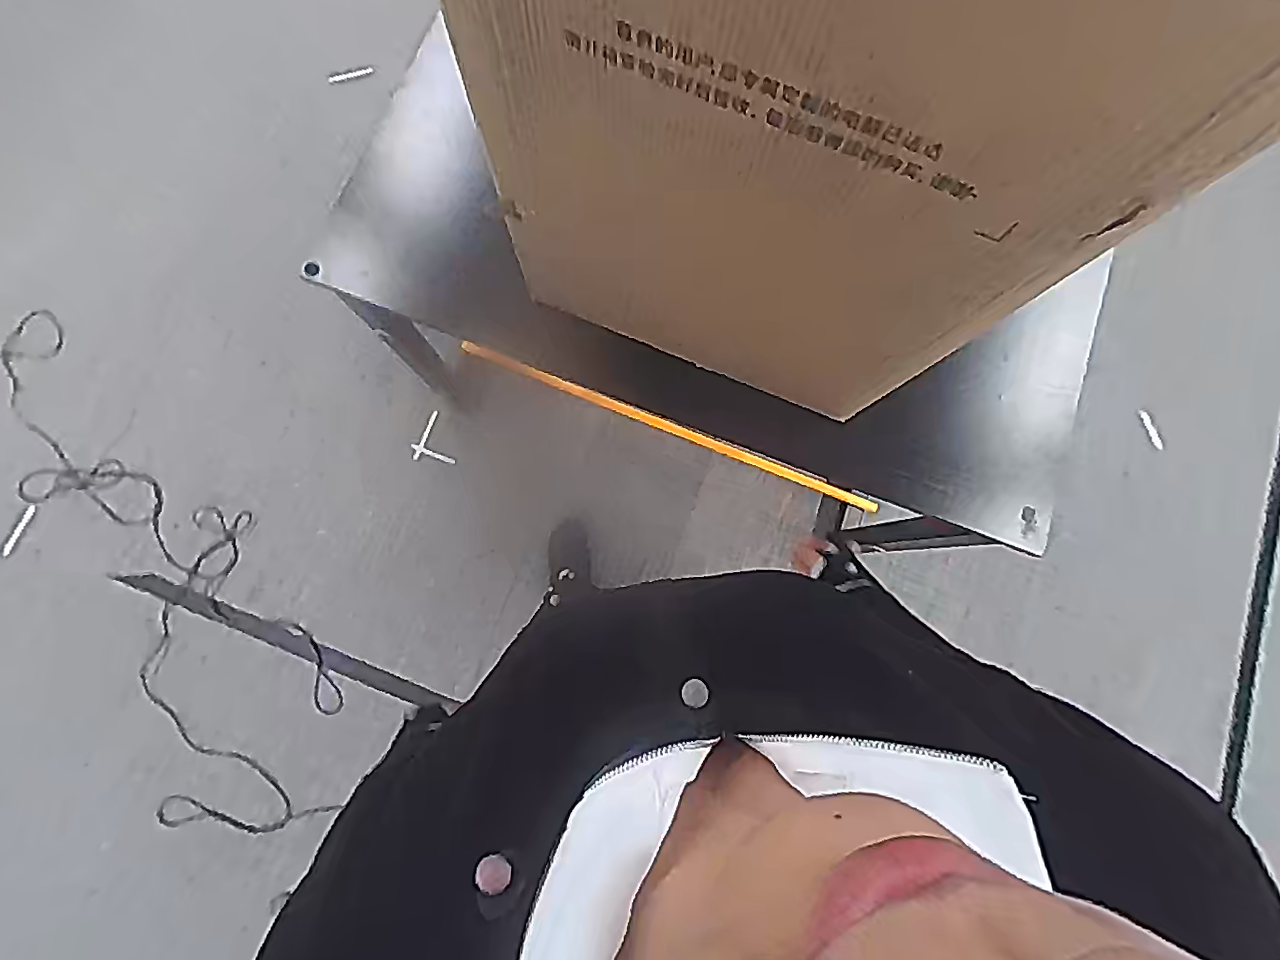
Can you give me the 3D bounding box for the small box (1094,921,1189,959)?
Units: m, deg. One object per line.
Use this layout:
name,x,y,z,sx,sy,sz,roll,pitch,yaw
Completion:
small box,1.143,1.121,1.176,0.179,0.176,0.168,25,81,1

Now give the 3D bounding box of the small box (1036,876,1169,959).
small box,1.133,1.138,1.340,0.168,0.176,0.179,25,82,1
